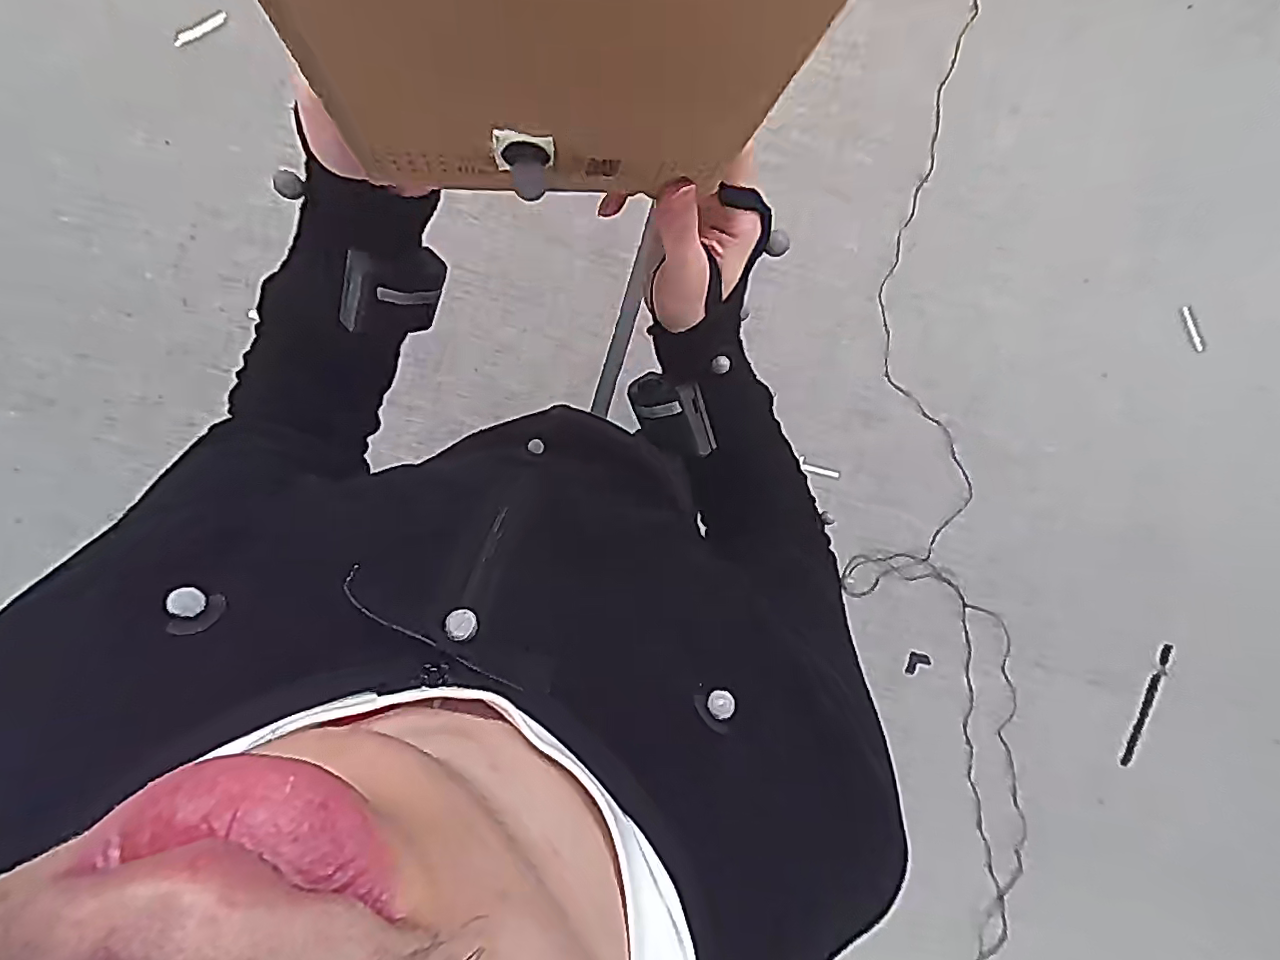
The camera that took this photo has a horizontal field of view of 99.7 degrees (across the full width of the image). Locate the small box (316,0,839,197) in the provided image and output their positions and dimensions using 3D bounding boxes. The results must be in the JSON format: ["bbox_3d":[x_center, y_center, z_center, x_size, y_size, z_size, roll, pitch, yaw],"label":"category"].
[{"bbox_3d":[-0.031,-0.229,0.189,0.168,0.176,0.179,-6,94,-10],"label":"small box"}]
